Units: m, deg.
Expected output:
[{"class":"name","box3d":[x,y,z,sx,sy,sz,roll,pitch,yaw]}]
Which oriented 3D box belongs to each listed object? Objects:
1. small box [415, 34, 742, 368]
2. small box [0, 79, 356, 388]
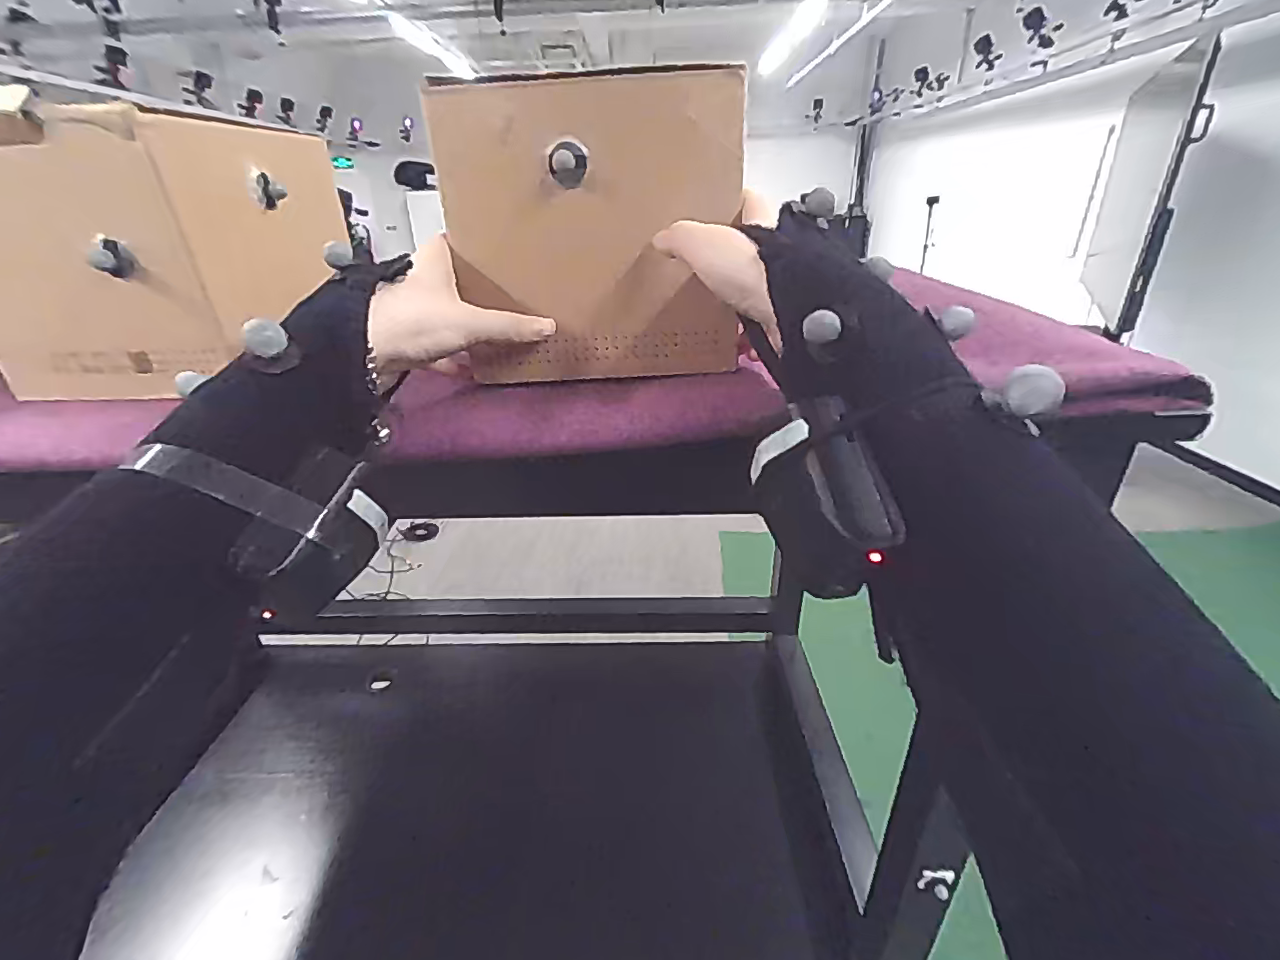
[{"class":"small box","box3d":[-0.027,-0.180,0.384,0.179,0.176,0.168,-2,26,1]},{"class":"small box","box3d":[-0.339,-0.169,0.394,0.168,0.176,0.179,1,26,3]}]
